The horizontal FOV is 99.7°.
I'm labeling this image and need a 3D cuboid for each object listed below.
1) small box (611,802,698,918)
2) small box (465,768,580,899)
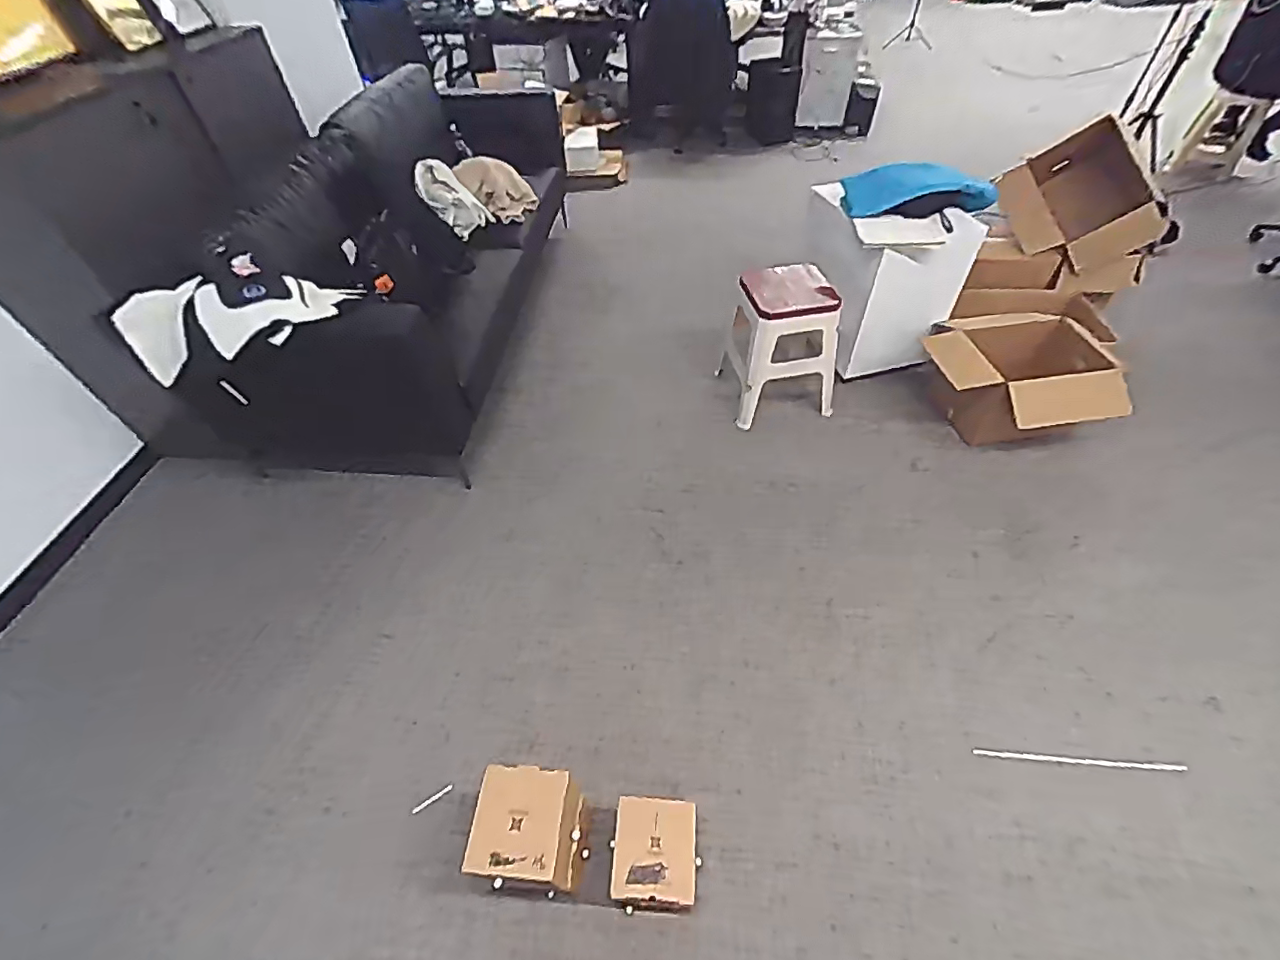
[{"bbox_3d":[0.036,0.806,1.143,0.168,0.176,0.179,2,47,5],"label":"small box"},{"bbox_3d":[-0.215,0.686,1.048,0.168,0.176,0.179,2,47,6],"label":"small box"}]
